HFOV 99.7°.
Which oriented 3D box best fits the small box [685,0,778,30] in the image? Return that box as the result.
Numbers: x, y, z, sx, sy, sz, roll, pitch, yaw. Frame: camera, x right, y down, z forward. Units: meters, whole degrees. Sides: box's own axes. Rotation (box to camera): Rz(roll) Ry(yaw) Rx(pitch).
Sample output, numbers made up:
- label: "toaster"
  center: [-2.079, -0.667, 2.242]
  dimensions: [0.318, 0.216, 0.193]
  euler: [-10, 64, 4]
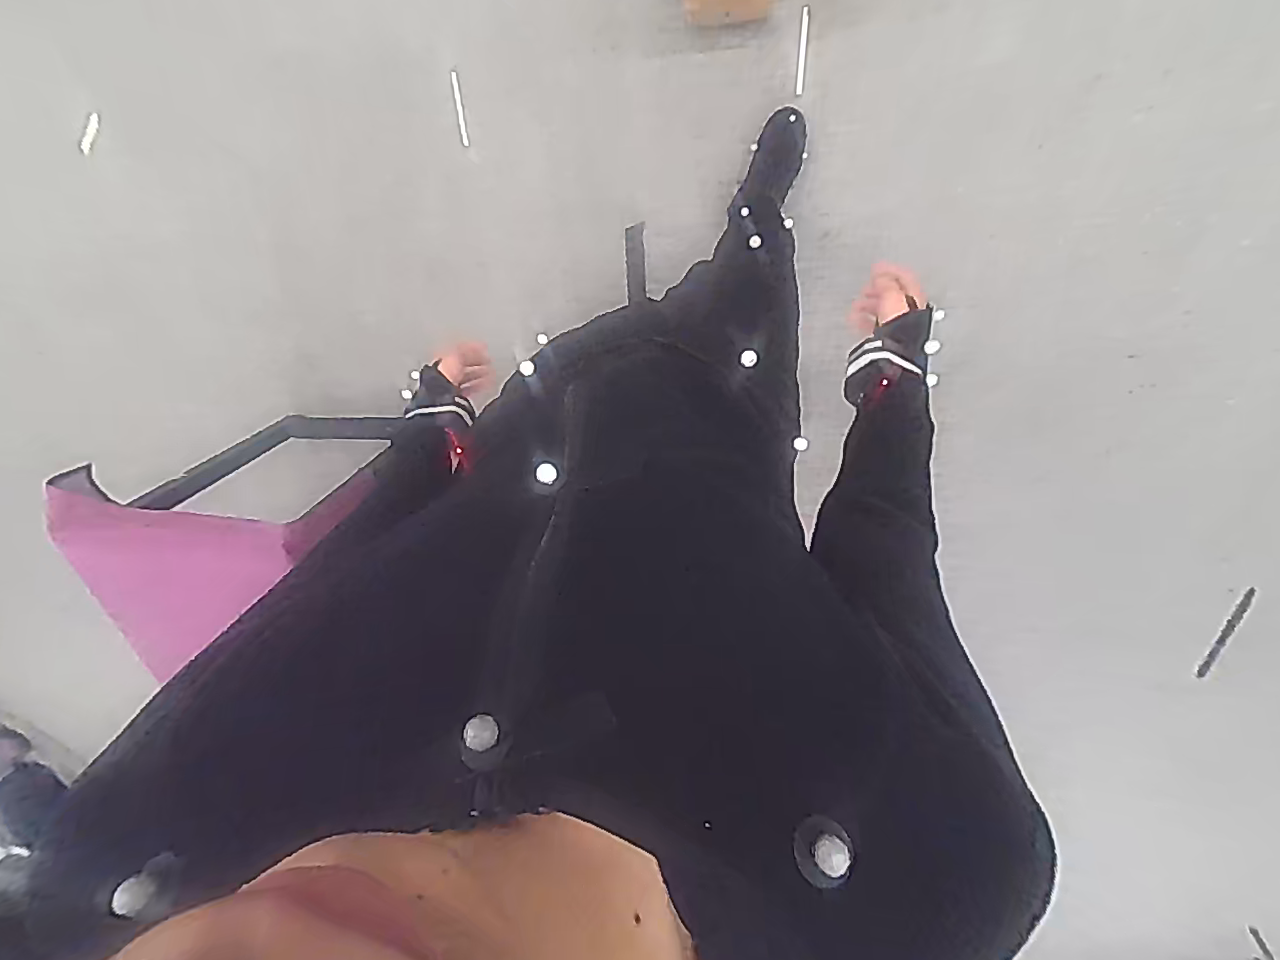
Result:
- label: "small box"
  center: [0.179, -1.002, 1.050]
  dimensions: [0.179, 0.176, 0.168]
  euler: [1, 120, 10]
